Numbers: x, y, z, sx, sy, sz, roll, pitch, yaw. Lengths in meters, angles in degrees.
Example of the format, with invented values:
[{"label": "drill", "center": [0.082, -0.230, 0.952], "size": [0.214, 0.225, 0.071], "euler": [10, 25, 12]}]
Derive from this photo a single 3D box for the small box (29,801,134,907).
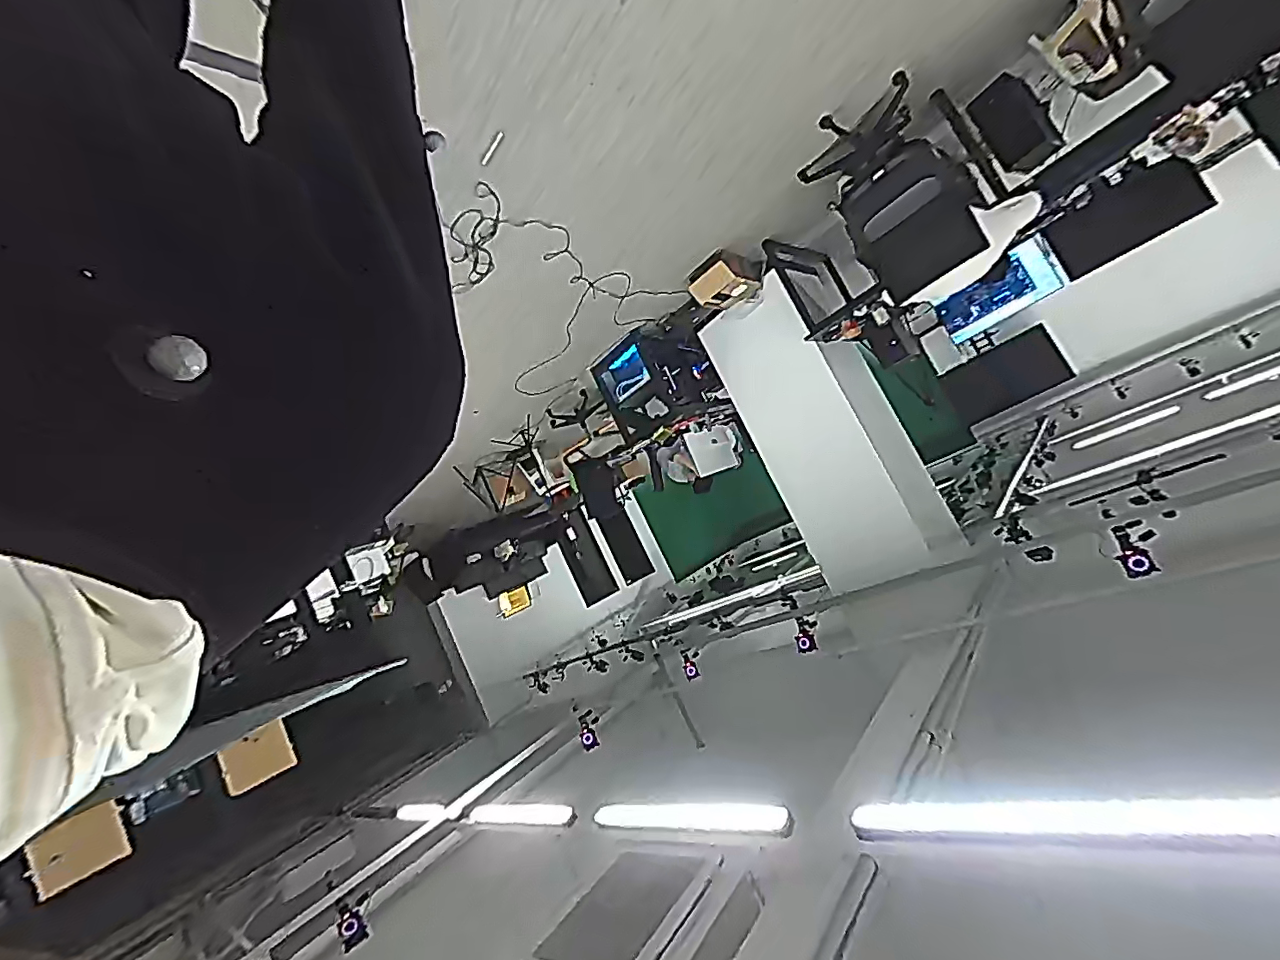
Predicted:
[{"label": "small box", "center": [-1.547, 1.028, 1.495], "size": [0.168, 0.176, 0.179], "euler": [-31, 171, 39]}]
